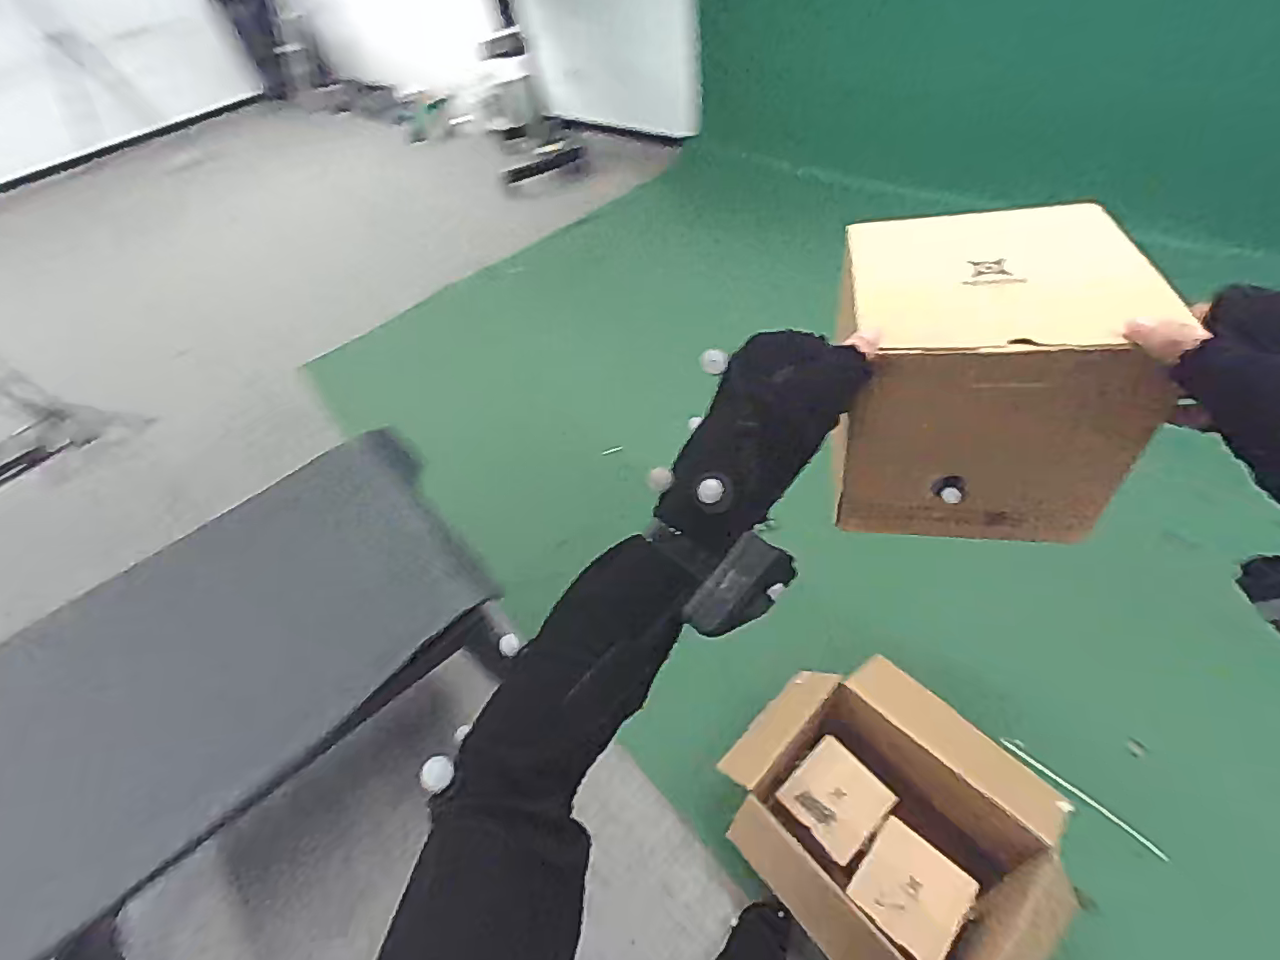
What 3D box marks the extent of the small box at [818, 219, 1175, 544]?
[{"bbox_3d":[0.228,-0.074,0.412,0.168,0.176,0.179,2,47,14],"label":"small box"}]
